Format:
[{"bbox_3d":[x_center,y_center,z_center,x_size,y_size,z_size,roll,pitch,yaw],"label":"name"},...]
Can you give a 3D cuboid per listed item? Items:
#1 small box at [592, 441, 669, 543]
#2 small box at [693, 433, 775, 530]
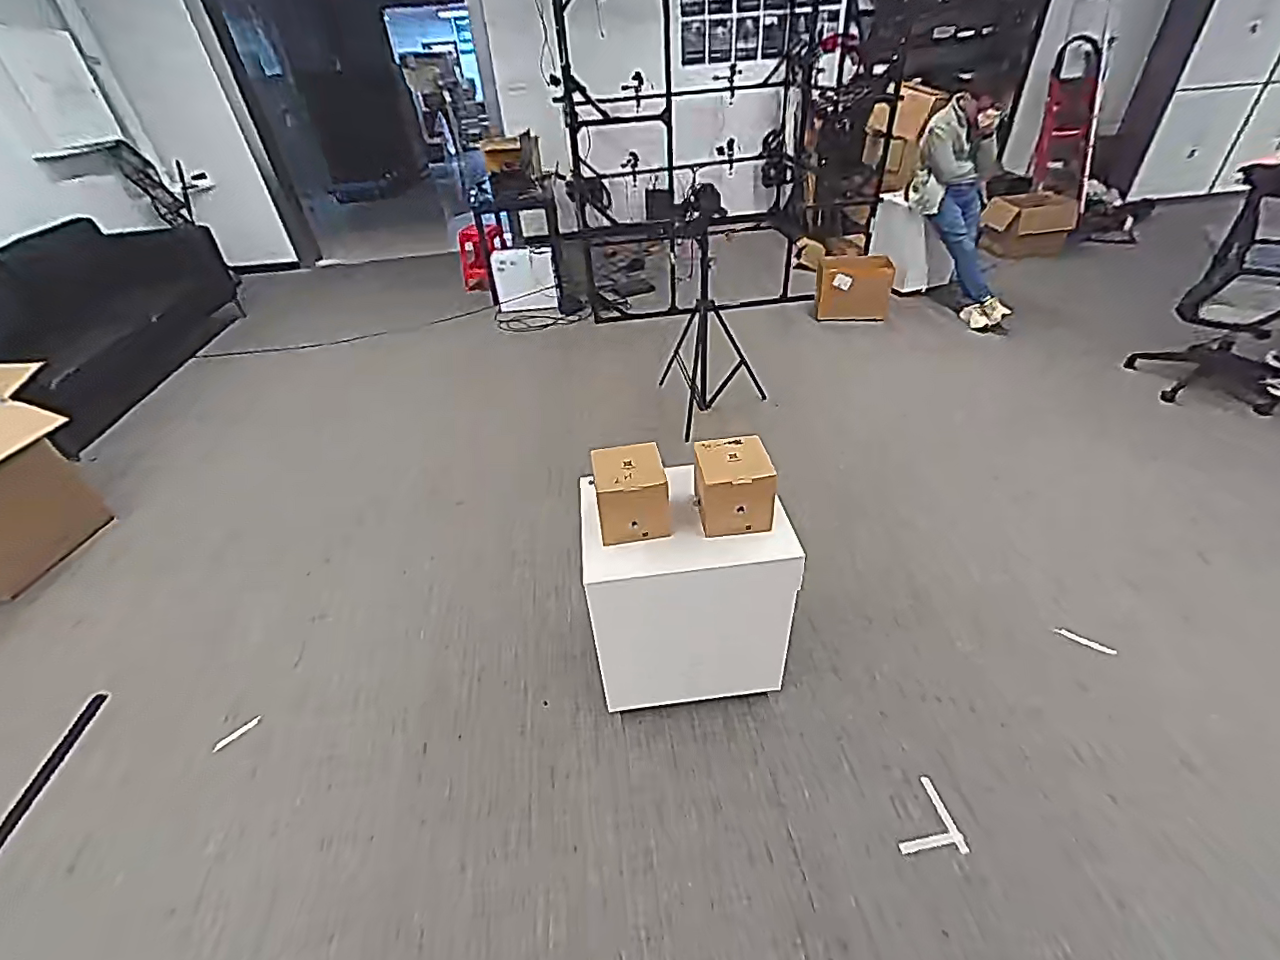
[{"bbox_3d":[-0.025,0.029,1.326,0.168,0.176,0.179,-9,38,-4],"label":"small box"},{"bbox_3d":[0.224,0.010,1.323,0.168,0.176,0.179,-6,39,-1],"label":"small box"}]
